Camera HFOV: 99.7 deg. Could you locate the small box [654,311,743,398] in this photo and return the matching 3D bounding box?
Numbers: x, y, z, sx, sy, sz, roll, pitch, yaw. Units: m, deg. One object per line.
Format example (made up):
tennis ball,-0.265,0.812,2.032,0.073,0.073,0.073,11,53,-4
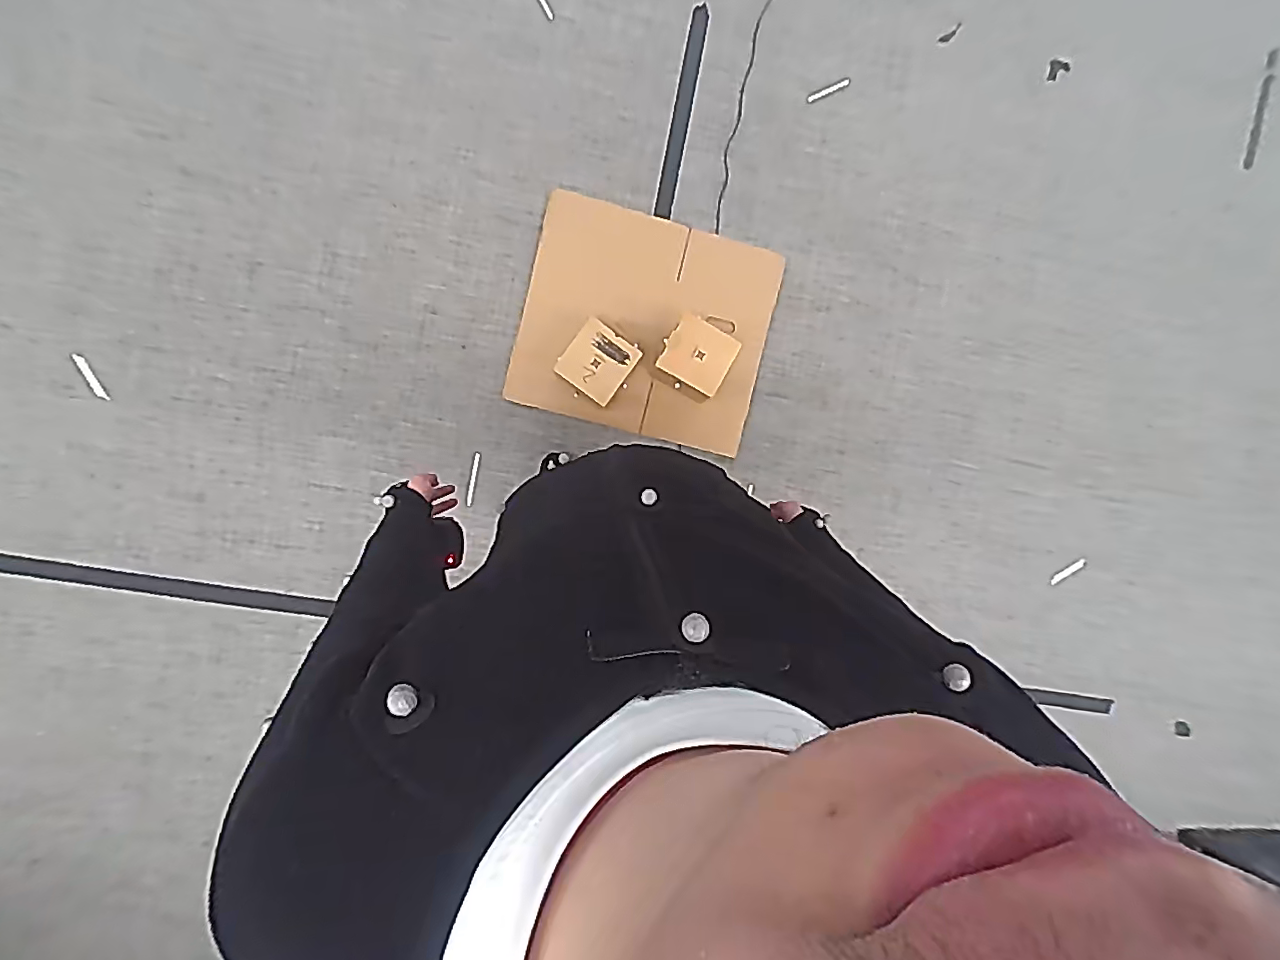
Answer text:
small box,0.155,-0.338,1.497,0.179,0.176,0.168,29,91,-3
